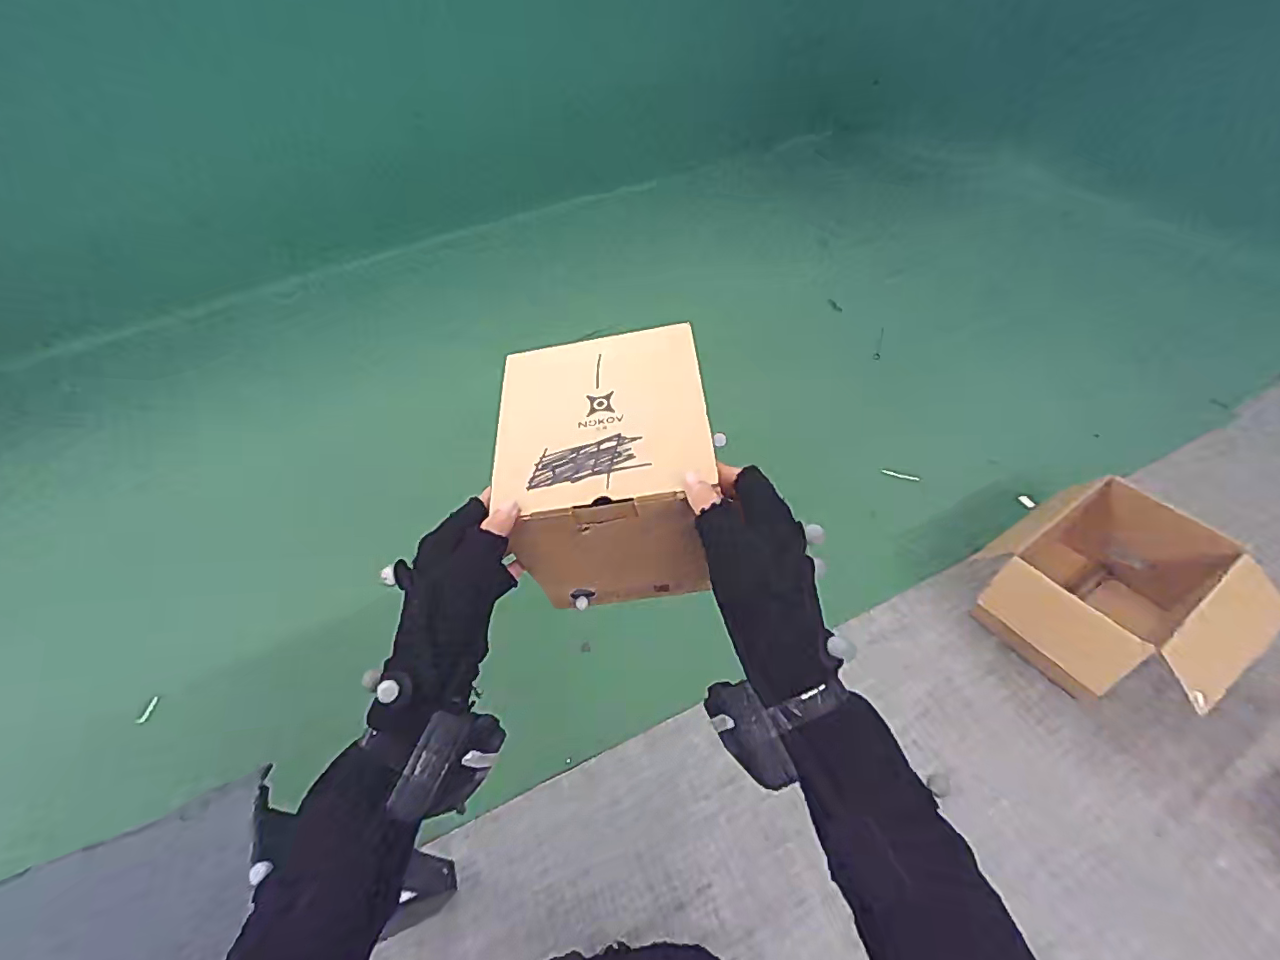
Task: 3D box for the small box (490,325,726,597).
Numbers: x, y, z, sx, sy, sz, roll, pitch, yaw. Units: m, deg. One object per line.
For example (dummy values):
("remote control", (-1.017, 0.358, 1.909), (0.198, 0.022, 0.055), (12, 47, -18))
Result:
("small box", (-0.018, -0.006, 0.488), (0.168, 0.176, 0.179), (-9, 53, 6))
